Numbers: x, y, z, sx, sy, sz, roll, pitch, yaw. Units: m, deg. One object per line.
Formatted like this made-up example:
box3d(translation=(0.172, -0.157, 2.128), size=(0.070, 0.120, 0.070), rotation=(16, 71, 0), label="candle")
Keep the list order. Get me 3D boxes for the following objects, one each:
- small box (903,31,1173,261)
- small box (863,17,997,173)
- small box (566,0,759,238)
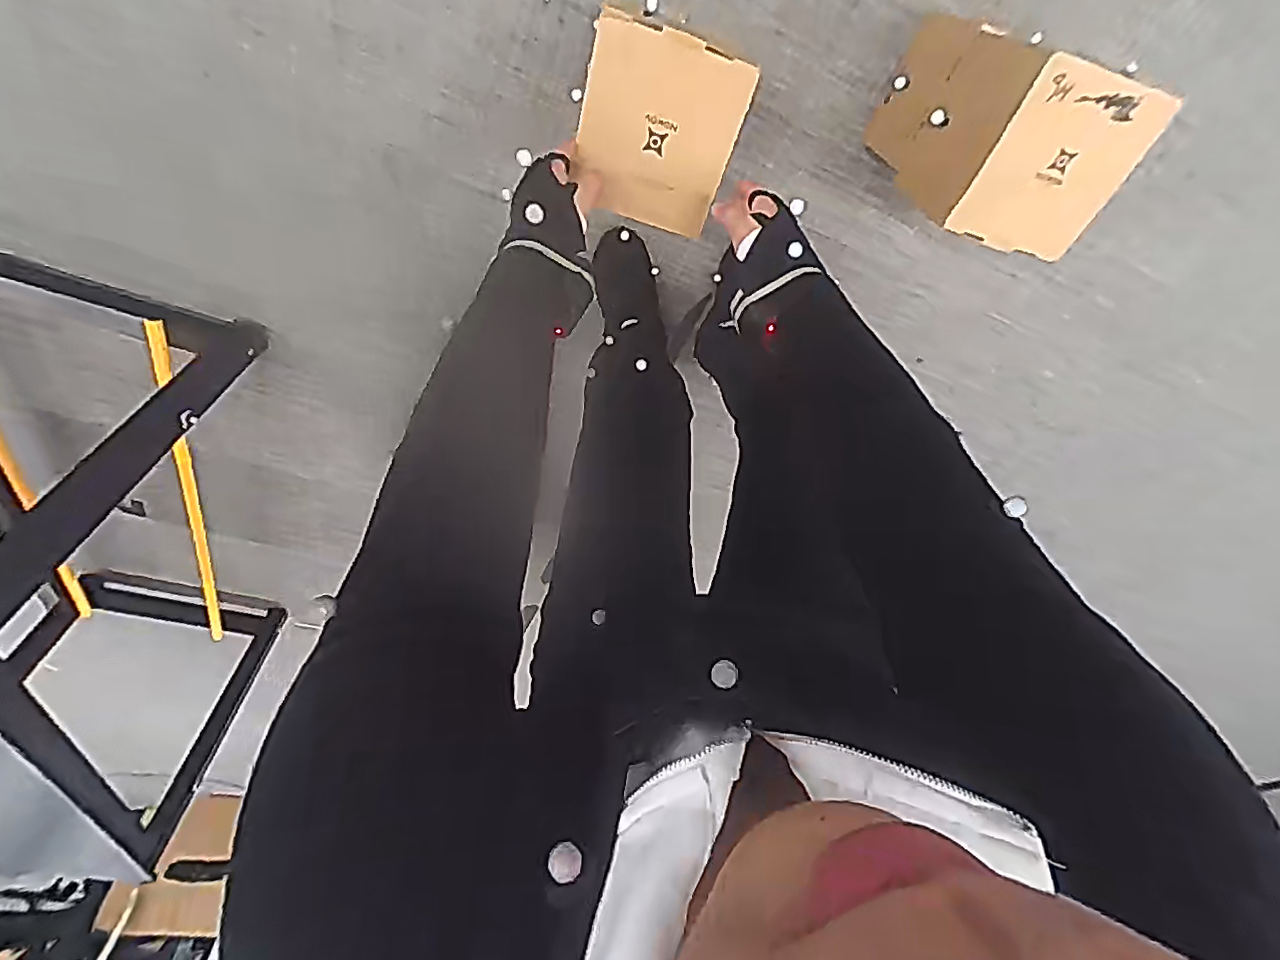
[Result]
box3d(translation=(0.450, -0.402, 0.654), size=(0.168, 0.176, 0.179), rotation=(11, 134, -11), label="small box")
box3d(translation=(0.455, -0.523, 0.765), size=(0.179, 0.176, 0.168), rotation=(12, 133, -12), label="small box")
box3d(translation=(0.018, -0.421, 0.630), size=(0.168, 0.176, 0.179), rotation=(13, 134, -11), label="small box")
